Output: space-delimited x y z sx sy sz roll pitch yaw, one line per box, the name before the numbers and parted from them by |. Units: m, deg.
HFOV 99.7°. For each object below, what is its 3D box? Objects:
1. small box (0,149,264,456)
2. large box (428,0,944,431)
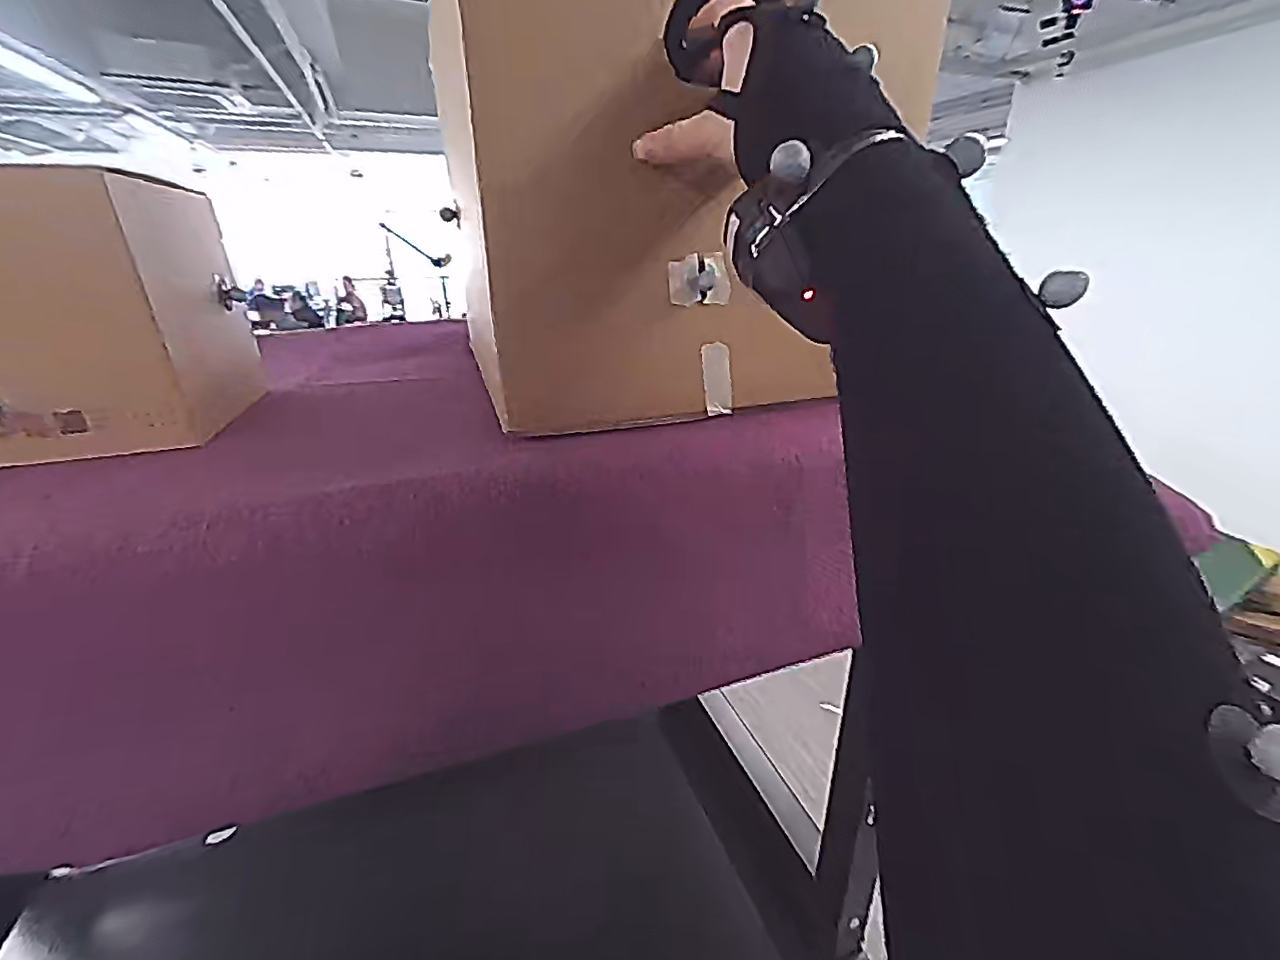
small box | -0.394 -0.122 0.377 0.168 0.176 0.179 -9 24 -17
large box | -0.008 -0.257 0.507 0.320 0.320 0.408 -8 23 -18
